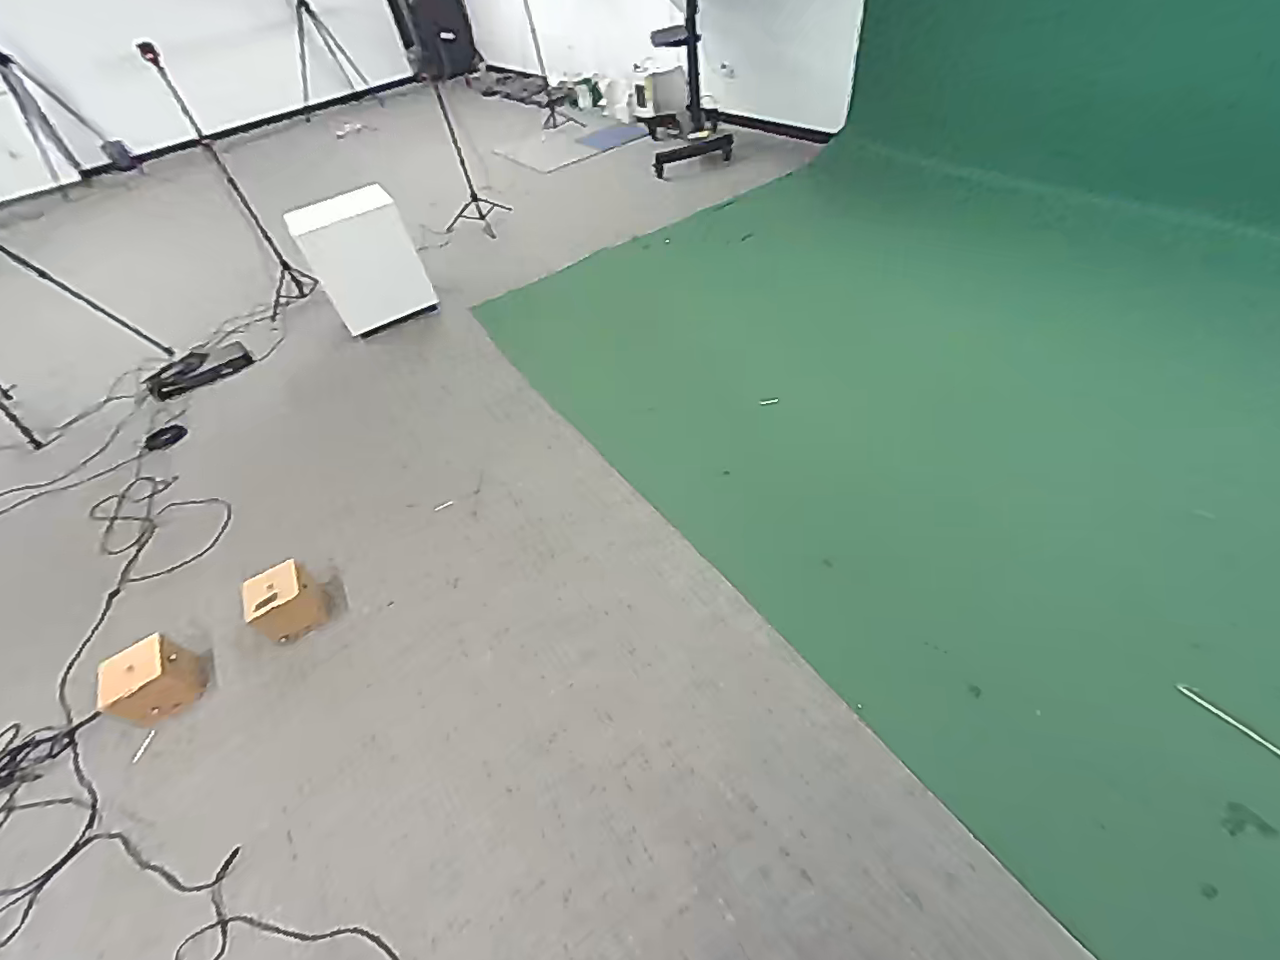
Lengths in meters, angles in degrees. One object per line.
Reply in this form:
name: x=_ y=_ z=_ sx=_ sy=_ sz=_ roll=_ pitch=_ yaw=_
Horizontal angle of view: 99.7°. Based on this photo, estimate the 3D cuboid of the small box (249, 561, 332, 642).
small box: x=-1.144 y=0.408 z=1.777 sx=0.168 sy=0.176 sz=0.179 roll=-28 pitch=48 yaw=-15

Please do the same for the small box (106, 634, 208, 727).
small box: x=-1.467 y=0.614 z=1.650 sx=0.168 sy=0.176 sz=0.179 roll=-32 pitch=50 yaw=-18
